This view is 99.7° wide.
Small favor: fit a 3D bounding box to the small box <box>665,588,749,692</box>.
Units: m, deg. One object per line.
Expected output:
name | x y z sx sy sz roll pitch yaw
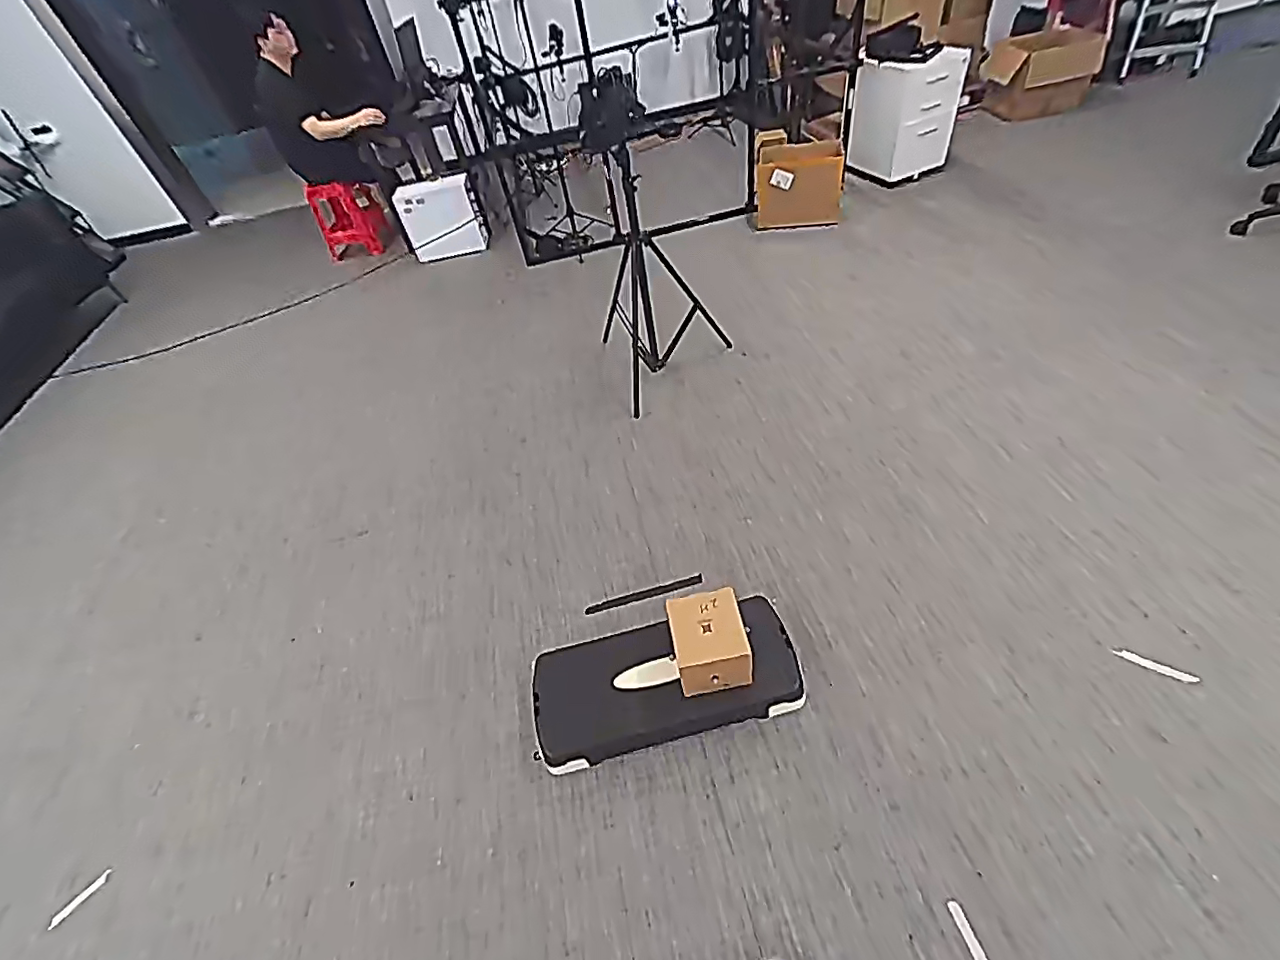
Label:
small box | 0.163 0.390 1.293 0.168 0.176 0.179 -11 46 1
